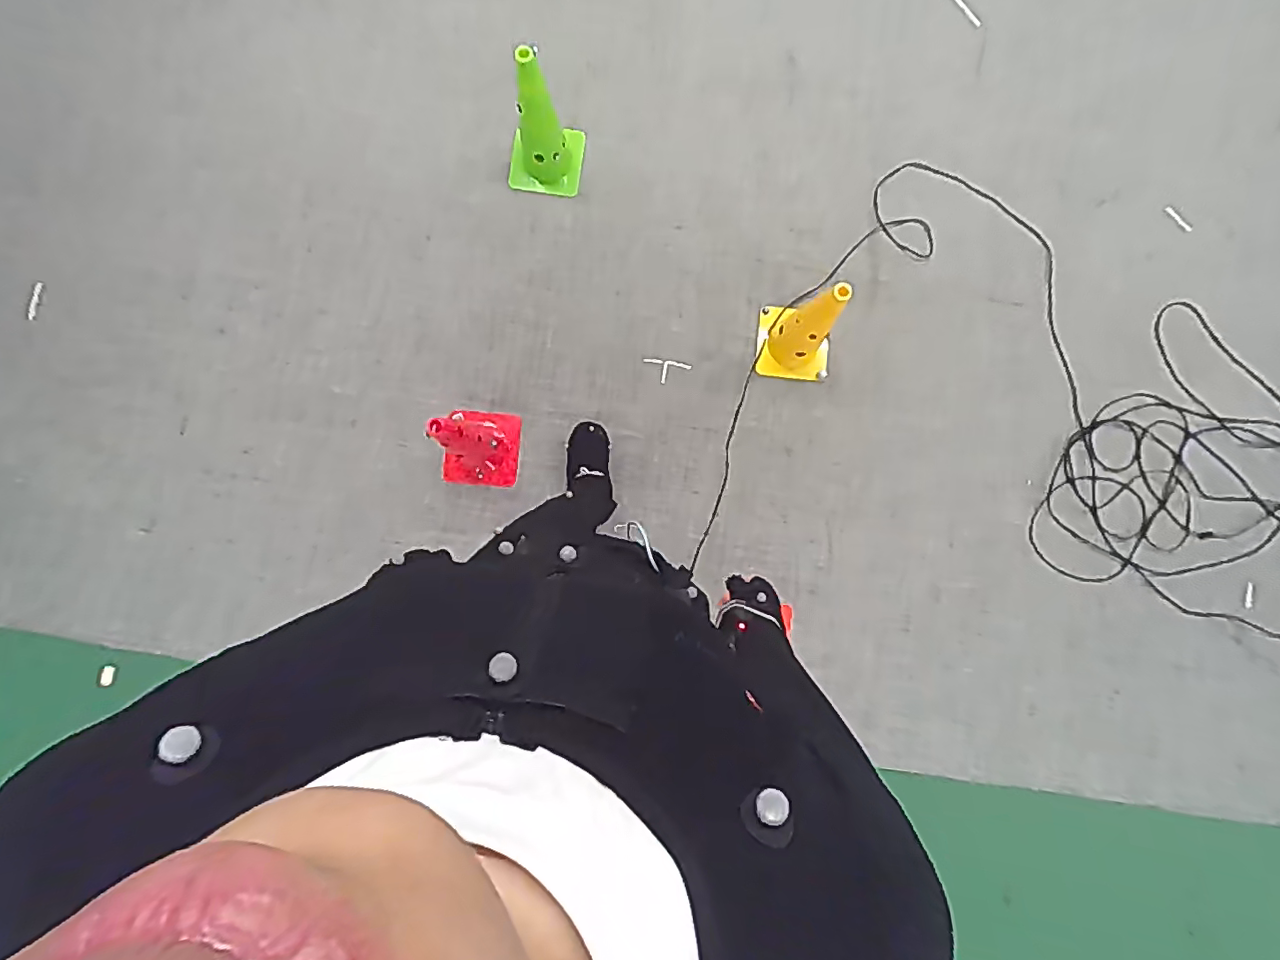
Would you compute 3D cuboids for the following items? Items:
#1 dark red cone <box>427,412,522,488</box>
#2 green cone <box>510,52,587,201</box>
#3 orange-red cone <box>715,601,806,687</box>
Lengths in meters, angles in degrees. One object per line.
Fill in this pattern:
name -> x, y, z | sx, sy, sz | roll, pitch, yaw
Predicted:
dark red cone -> -0.419, -0.089, 1.286 | 0.202, 0.394, 0.201 | 4, 87, -1
green cone -> -0.254, -0.915, 1.376 | 0.202, 0.368, 0.200 | 8, 86, -2
orange-red cone -> 0.314, 0.420, 1.284 | 0.198, 0.360, 0.199 | 10, 85, -1
